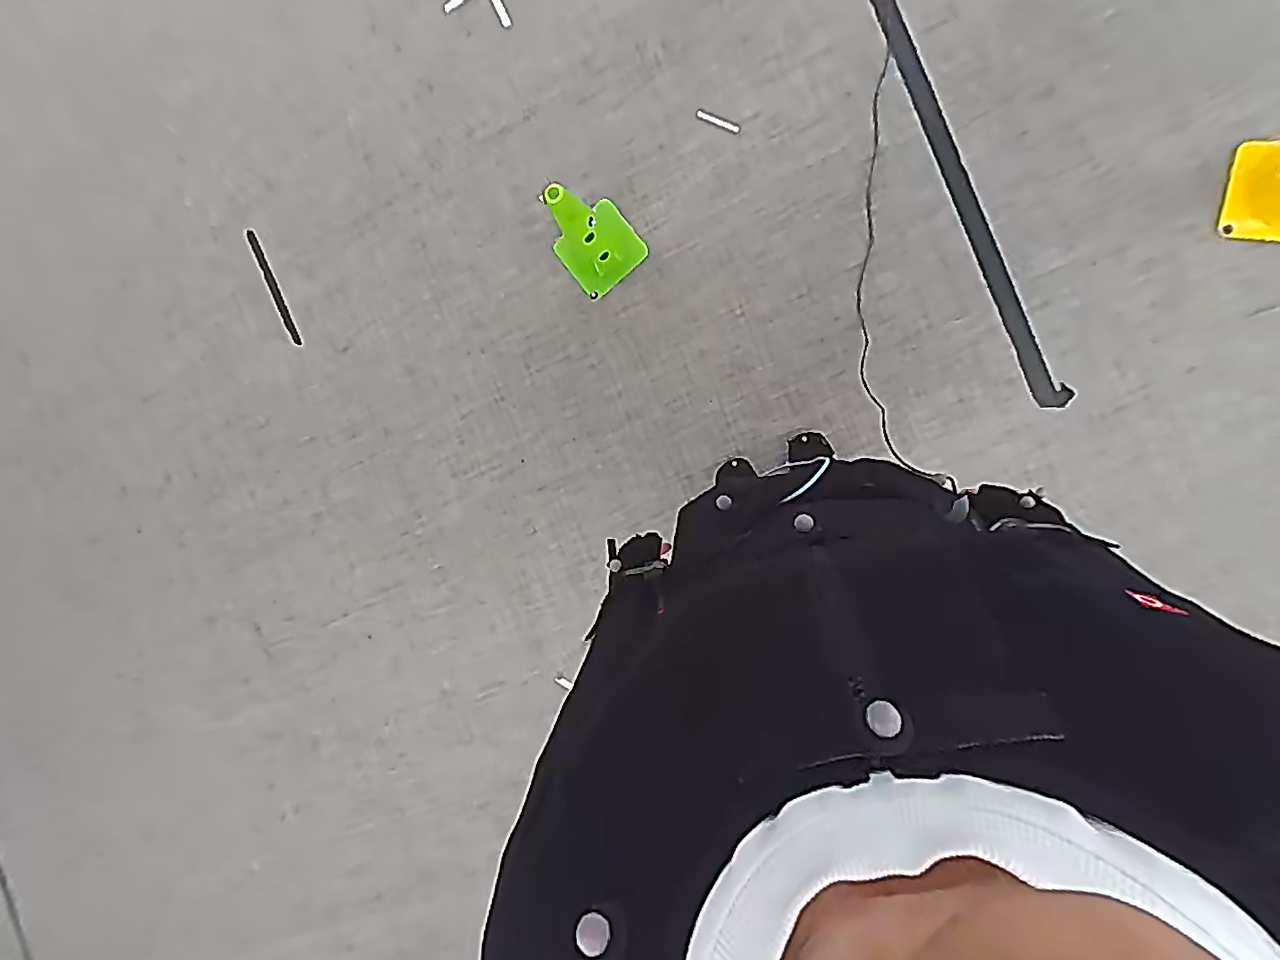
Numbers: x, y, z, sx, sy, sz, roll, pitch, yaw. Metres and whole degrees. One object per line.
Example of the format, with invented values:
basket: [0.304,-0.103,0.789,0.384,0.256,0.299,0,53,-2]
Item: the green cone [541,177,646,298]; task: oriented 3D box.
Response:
green cone: [-0.144,-0.611,1.285,0.200,0.368,0.202,-39,85,11]
